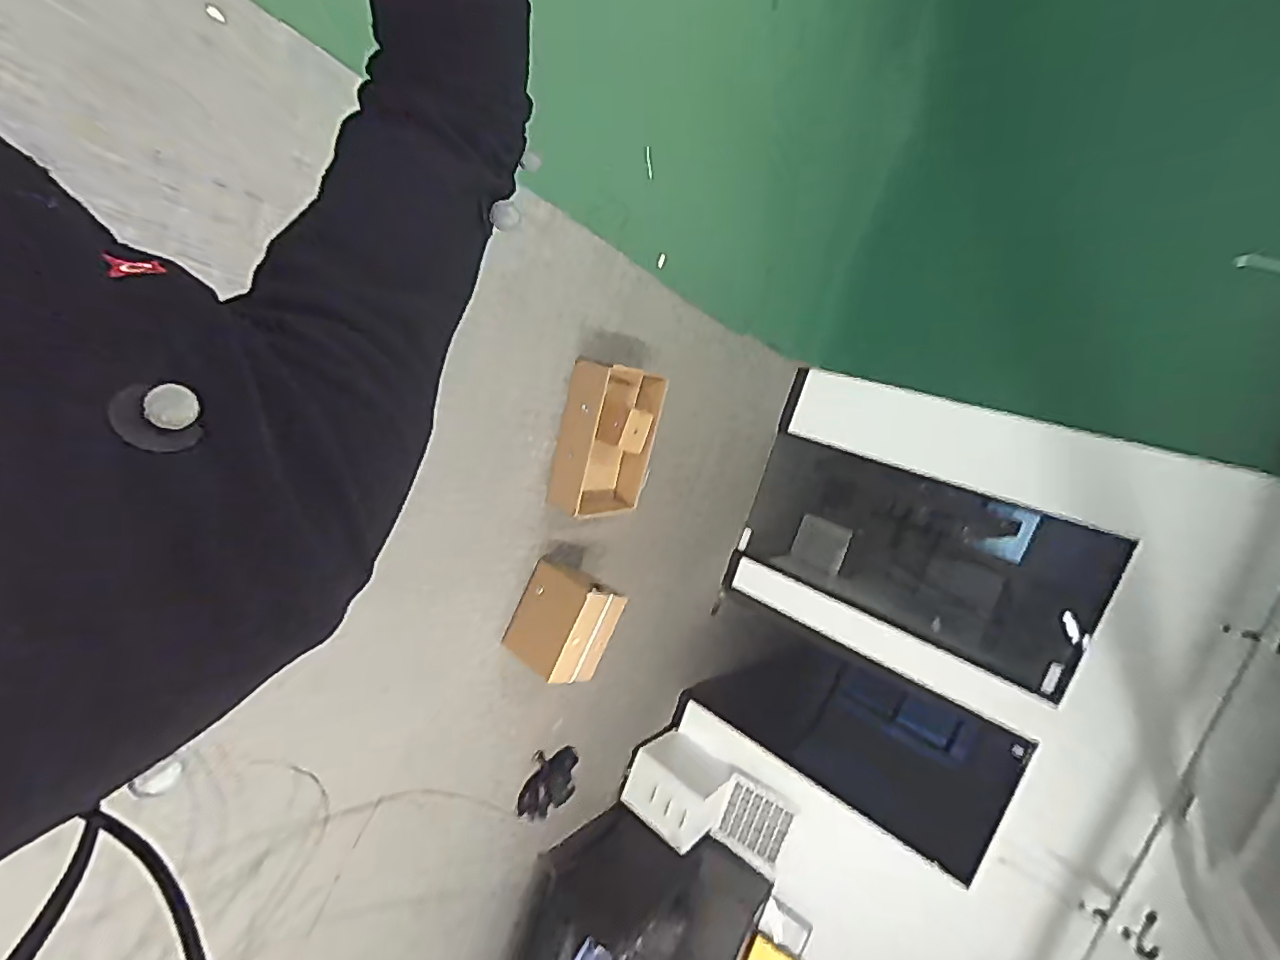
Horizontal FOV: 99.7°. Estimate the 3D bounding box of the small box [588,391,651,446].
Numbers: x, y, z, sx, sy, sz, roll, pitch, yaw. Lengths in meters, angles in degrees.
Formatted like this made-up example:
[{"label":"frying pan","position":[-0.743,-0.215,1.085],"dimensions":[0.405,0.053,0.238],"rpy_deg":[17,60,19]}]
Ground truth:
[{"label":"small box","position":[-0.088,-0.257,2.241],"dimensions":[0.168,0.176,0.179],"rpy_deg":[6,108,-55]}]
